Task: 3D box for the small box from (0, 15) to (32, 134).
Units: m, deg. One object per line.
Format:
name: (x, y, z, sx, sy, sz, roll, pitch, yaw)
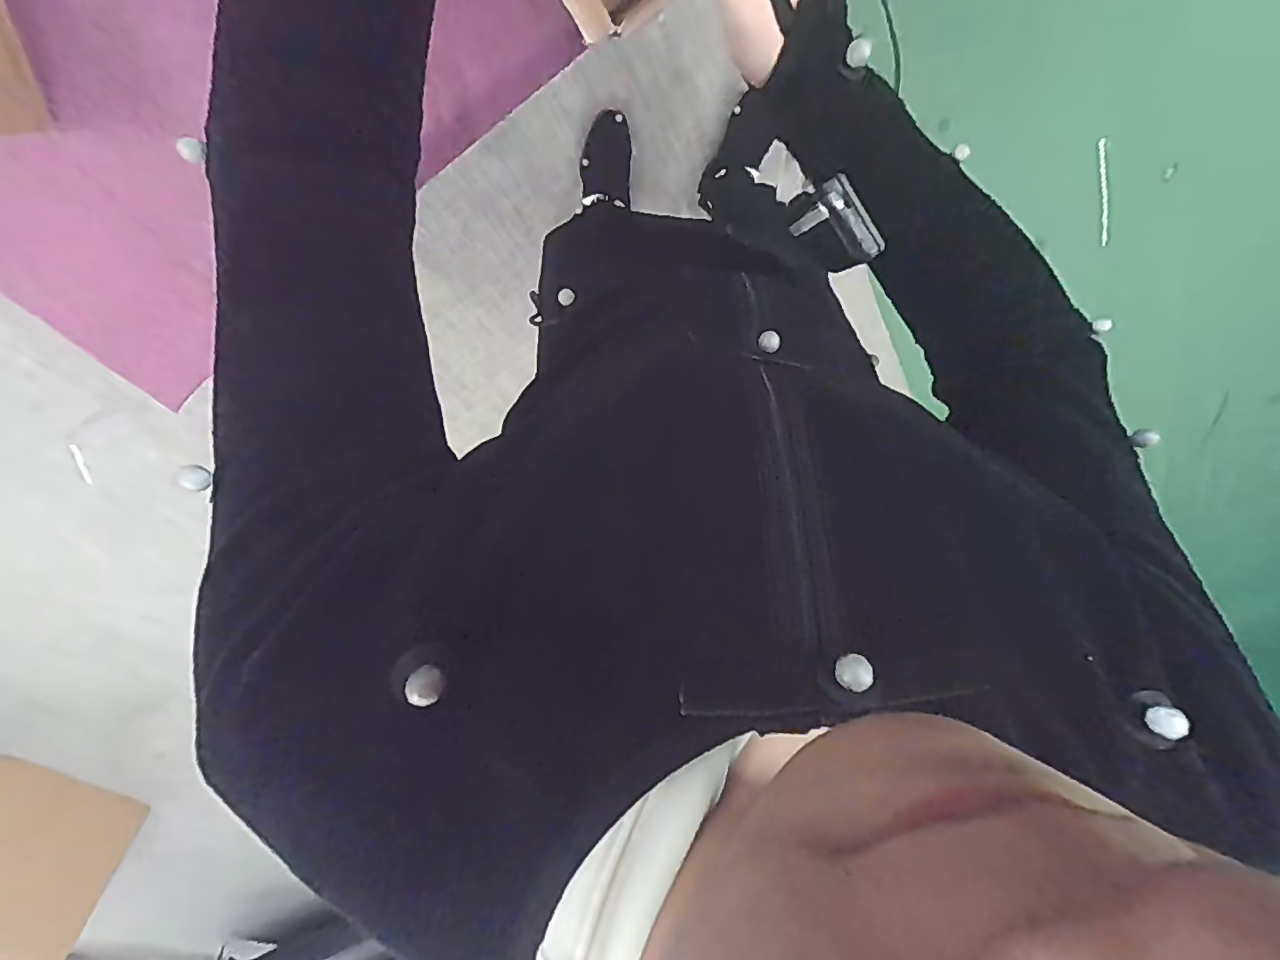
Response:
small box: (-0.692, -0.399, 0.456, 0.179, 0.176, 0.168, 3, 125, -12)
